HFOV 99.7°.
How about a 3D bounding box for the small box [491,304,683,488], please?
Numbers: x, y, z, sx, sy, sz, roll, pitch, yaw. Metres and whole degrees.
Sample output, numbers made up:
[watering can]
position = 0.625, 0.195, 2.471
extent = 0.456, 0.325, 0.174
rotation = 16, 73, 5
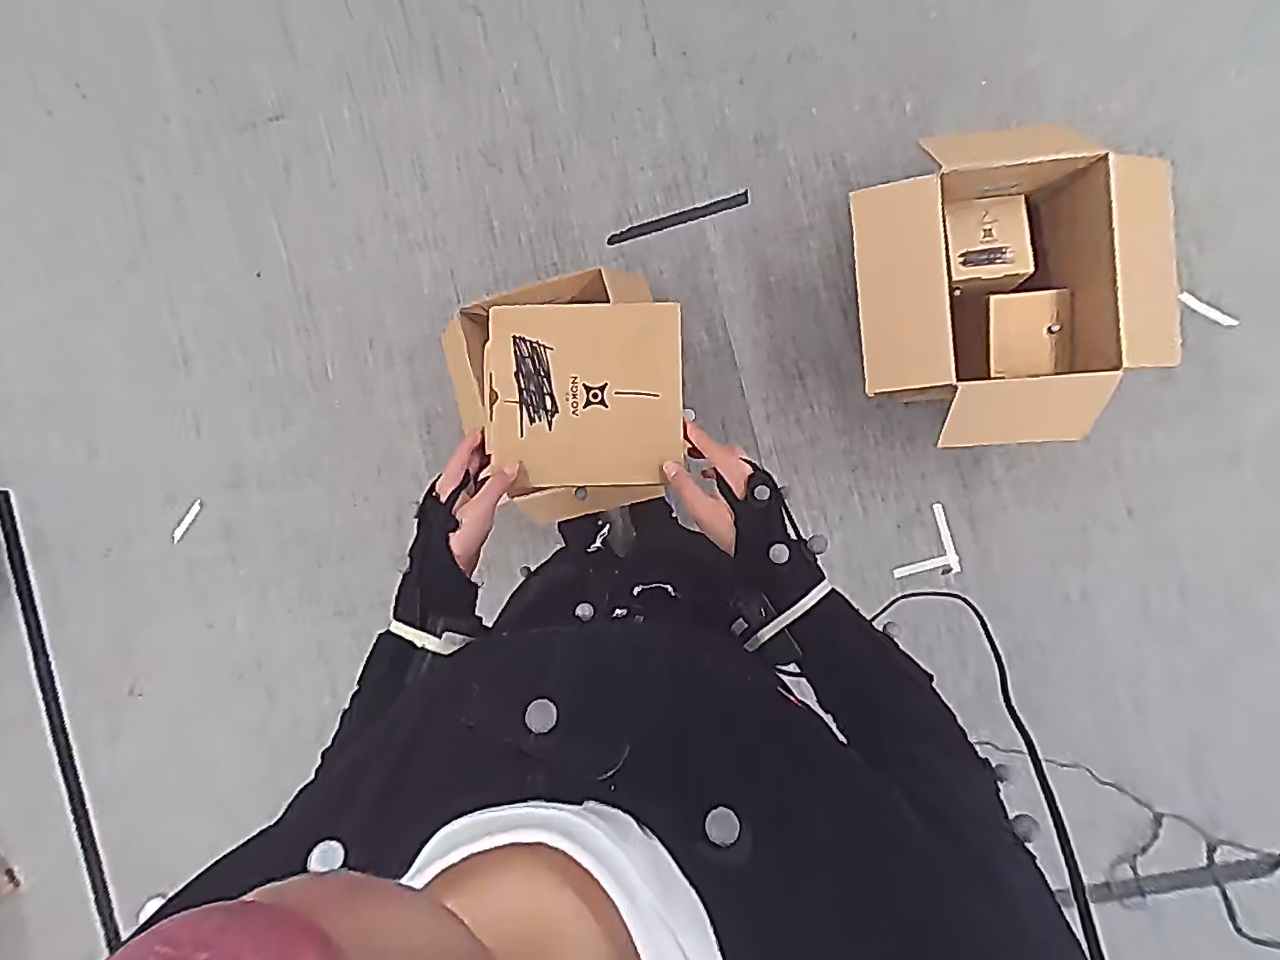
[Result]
[small box]
position = -0.046, -0.075, 0.569
extent = 0.179, 0.176, 0.168
rotation = -1, 90, 1
